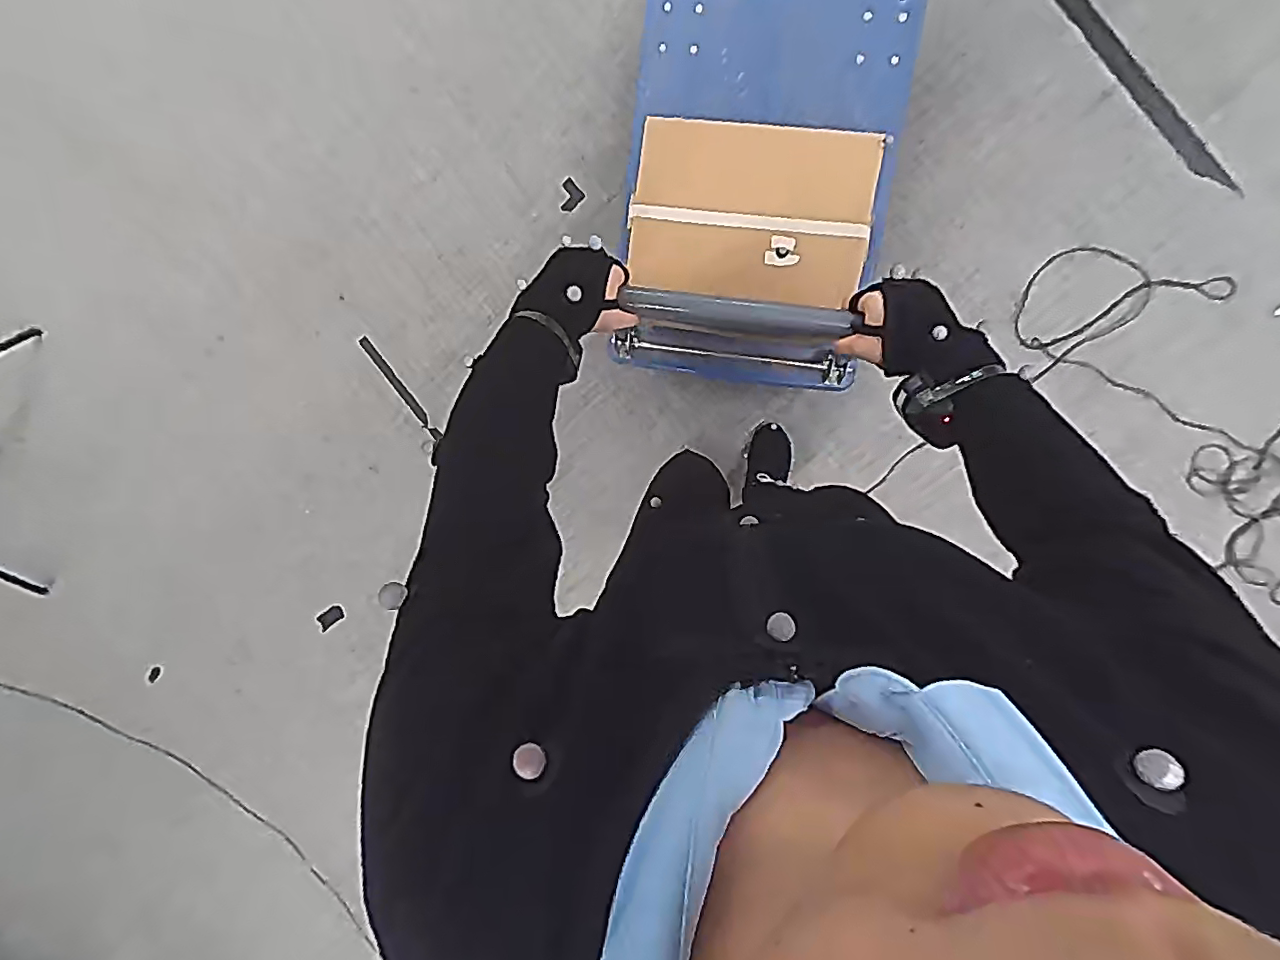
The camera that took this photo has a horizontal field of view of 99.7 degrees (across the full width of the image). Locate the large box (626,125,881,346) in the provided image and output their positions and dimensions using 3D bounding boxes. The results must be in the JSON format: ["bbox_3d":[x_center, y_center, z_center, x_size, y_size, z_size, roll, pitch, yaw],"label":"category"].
[{"bbox_3d":[0.204,-0.459,1.083,0.408,0.320,0.320,9,100,6],"label":"large box"}]
